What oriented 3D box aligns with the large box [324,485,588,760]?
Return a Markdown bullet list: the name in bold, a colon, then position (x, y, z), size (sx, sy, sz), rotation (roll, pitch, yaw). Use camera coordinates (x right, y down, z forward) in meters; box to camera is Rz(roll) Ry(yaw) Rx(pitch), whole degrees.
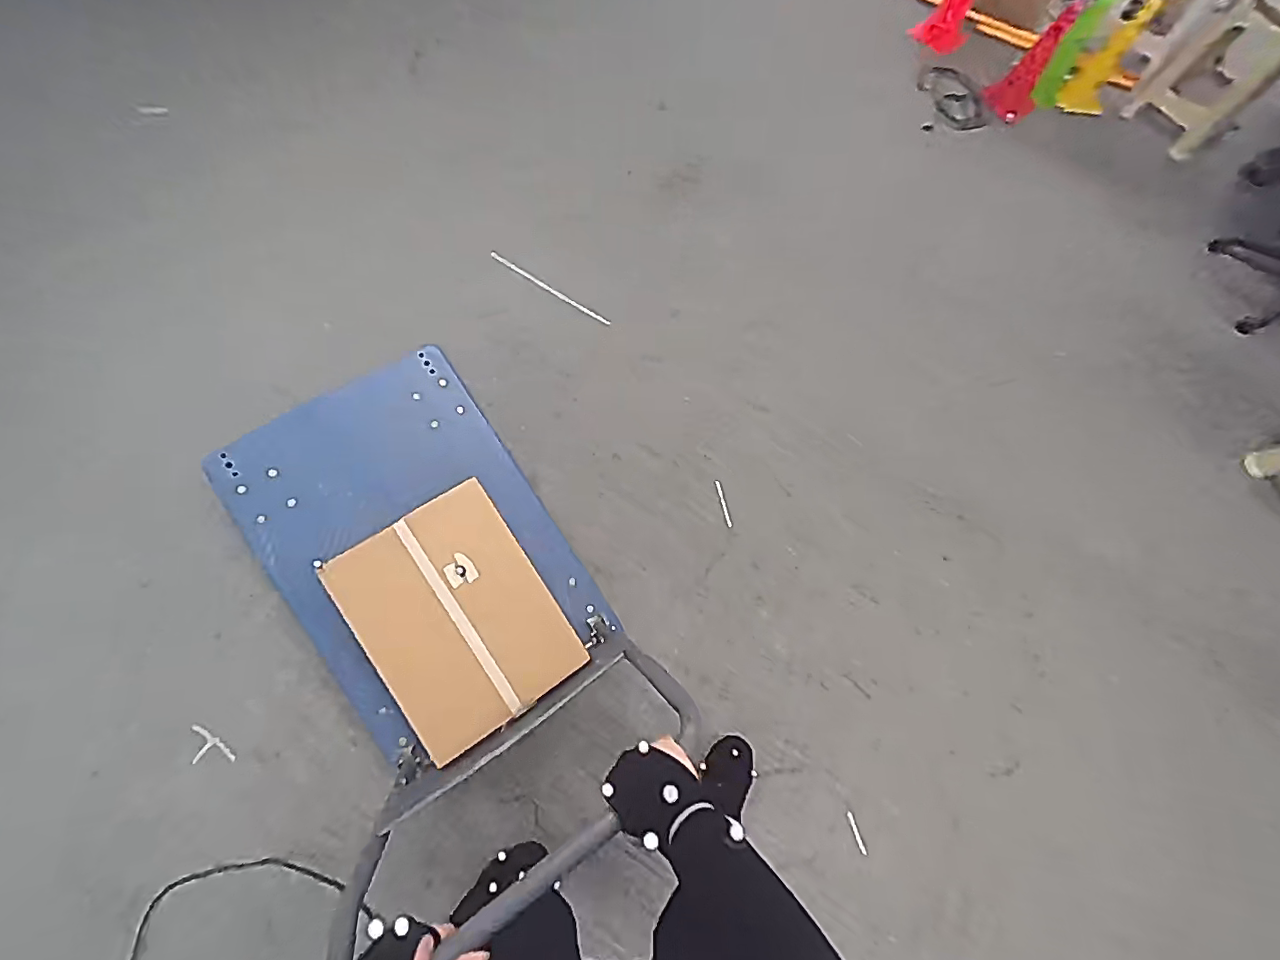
- **large box**: position (-0.353, 0.275, 1.130), size (0.320, 0.320, 0.408), rotation (-33, 88, -15)
